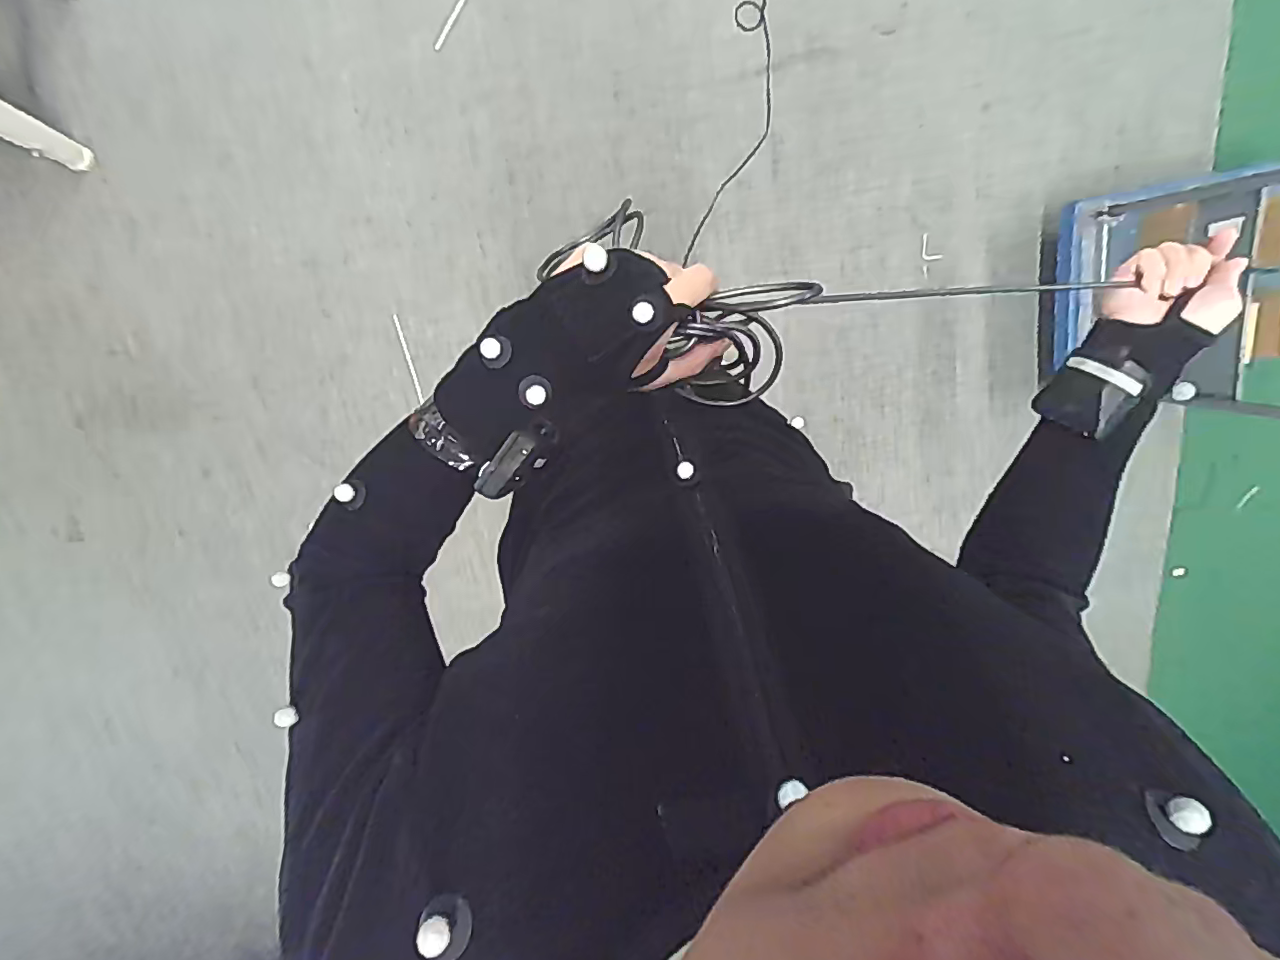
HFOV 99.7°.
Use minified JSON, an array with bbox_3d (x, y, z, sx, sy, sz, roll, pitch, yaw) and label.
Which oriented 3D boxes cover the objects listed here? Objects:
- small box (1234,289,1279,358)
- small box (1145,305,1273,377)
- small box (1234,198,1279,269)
[{"bbox_3d":[1.839,-0.448,1.530,0.179,0.176,0.168,-16,106,-3],"label":"small box"},{"bbox_3d":[1.576,-0.389,1.506,0.179,0.176,0.168,-12,106,-5],"label":"small box"},{"bbox_3d":[1.775,-0.681,1.459,0.179,0.176,0.168,-16,107,-4],"label":"small box"}]
